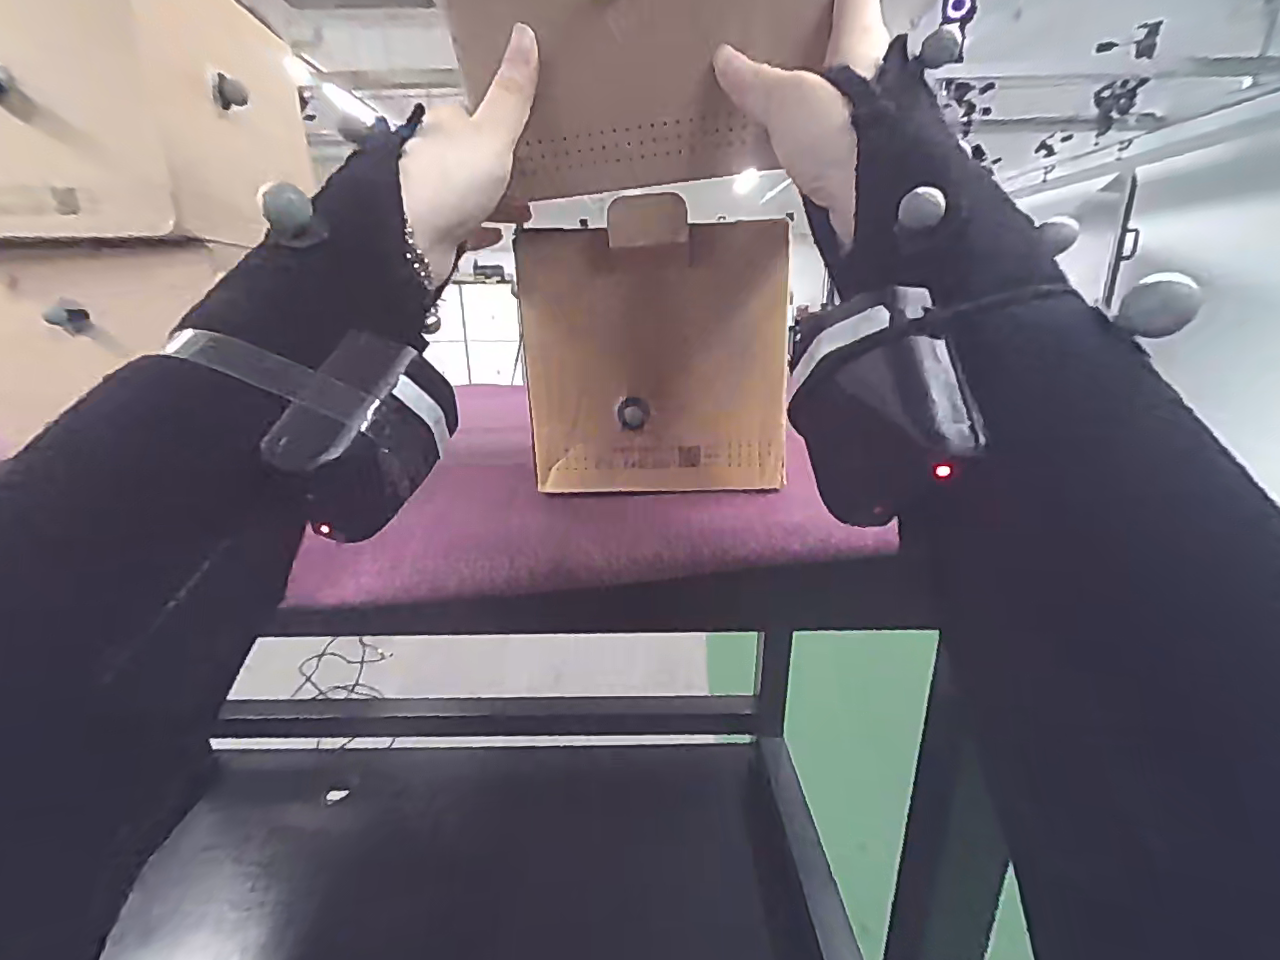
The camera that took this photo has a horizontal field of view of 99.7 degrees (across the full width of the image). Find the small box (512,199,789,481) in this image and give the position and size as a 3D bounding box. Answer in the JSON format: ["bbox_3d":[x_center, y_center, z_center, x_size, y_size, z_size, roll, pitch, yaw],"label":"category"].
[{"bbox_3d":[0.012,-0.102,0.414,0.168,0.176,0.179,-2,17,4],"label":"small box"}]

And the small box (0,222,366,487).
[{"bbox_3d":[-0.349,-0.095,0.425,0.179,0.176,0.168,0,17,1],"label":"small box"}]

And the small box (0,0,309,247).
[{"bbox_3d":[-0.358,-0.248,0.365,0.168,0.176,0.179,-2,18,-3],"label":"small box"}]
